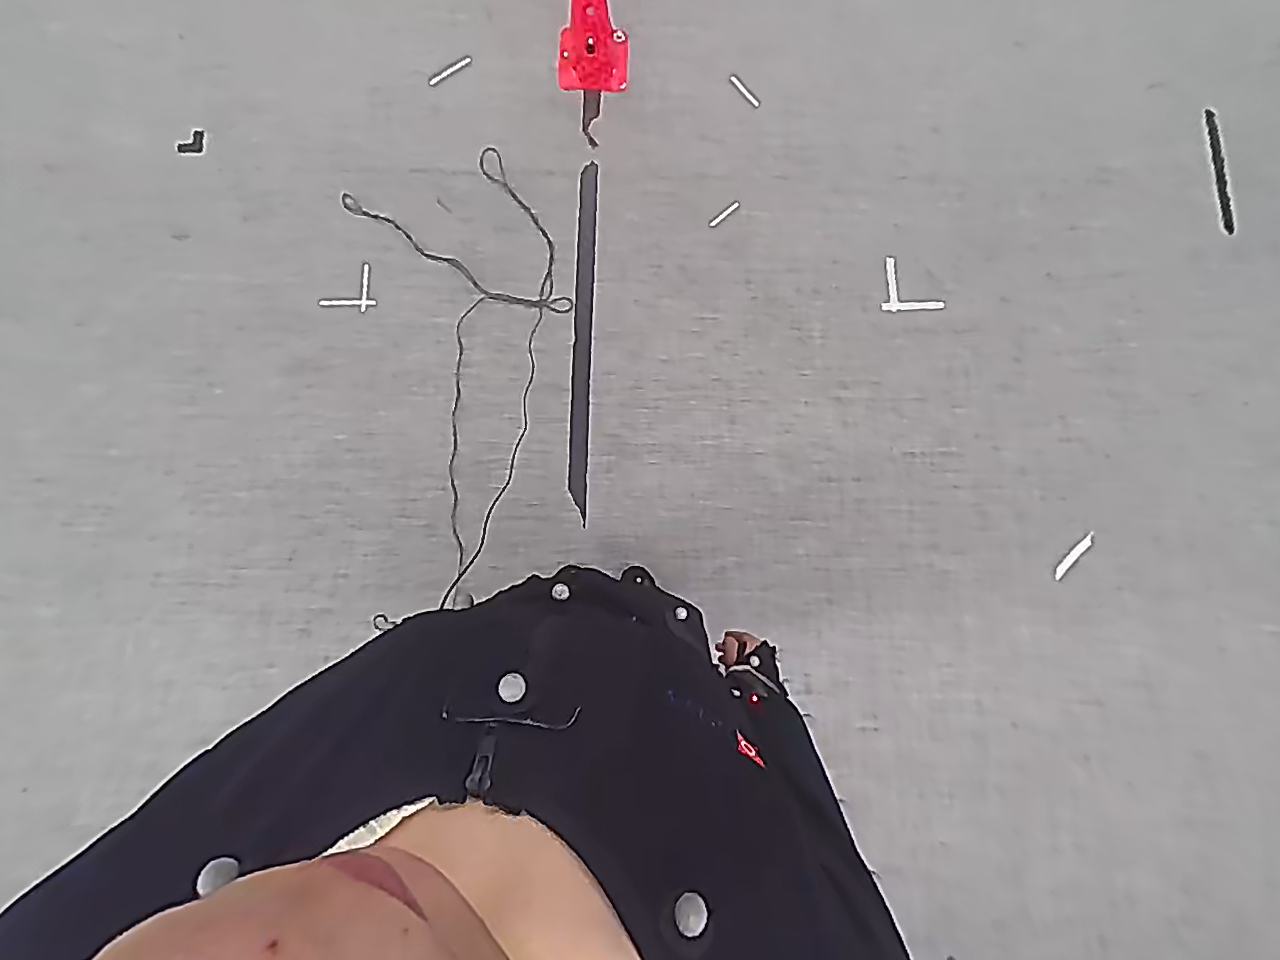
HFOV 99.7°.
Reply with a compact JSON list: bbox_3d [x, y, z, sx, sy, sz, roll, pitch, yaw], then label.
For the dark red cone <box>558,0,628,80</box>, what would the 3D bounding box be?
[{"bbox_3d":[-0.134,-1.258,1.380,0.201,0.394,0.202,0,83,0],"label":"dark red cone"}]
